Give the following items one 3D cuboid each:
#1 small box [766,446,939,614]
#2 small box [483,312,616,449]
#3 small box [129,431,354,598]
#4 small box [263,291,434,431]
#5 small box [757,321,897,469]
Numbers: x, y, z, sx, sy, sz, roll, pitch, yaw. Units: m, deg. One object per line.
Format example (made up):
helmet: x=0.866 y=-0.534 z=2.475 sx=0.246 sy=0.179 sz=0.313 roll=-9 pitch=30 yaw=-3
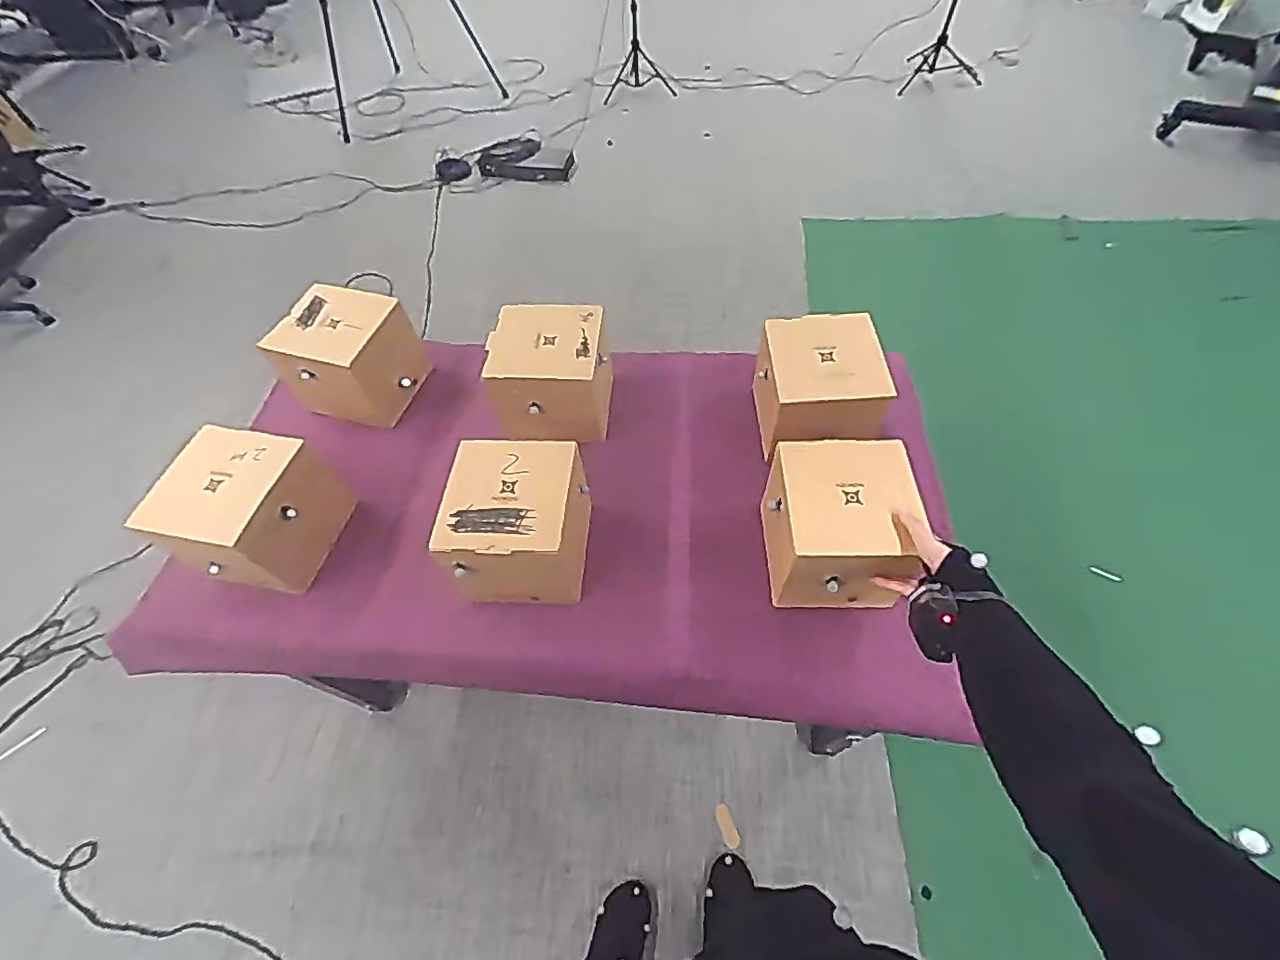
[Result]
small box: x=0.272 y=0.074 z=0.739 sx=0.168 sy=0.176 sz=0.179 roll=-1 pitch=54 yaw=3
small box: x=-0.142 y=-0.166 z=0.924 sx=0.179 sy=0.176 sz=0.168 roll=1 pitch=58 yaw=5
small box: x=-0.562 y=0.055 z=0.797 sx=0.168 sy=0.176 sz=0.179 roll=9 pitch=57 yaw=8
small box: x=-0.507 y=-0.208 z=0.970 sx=0.179 sy=0.176 sz=0.168 roll=13 pitch=59 yaw=10
small box: x=0.287 y=-0.132 z=0.877 sx=0.168 sy=0.176 sz=0.179 roll=-2 pitch=58 yaw=4
